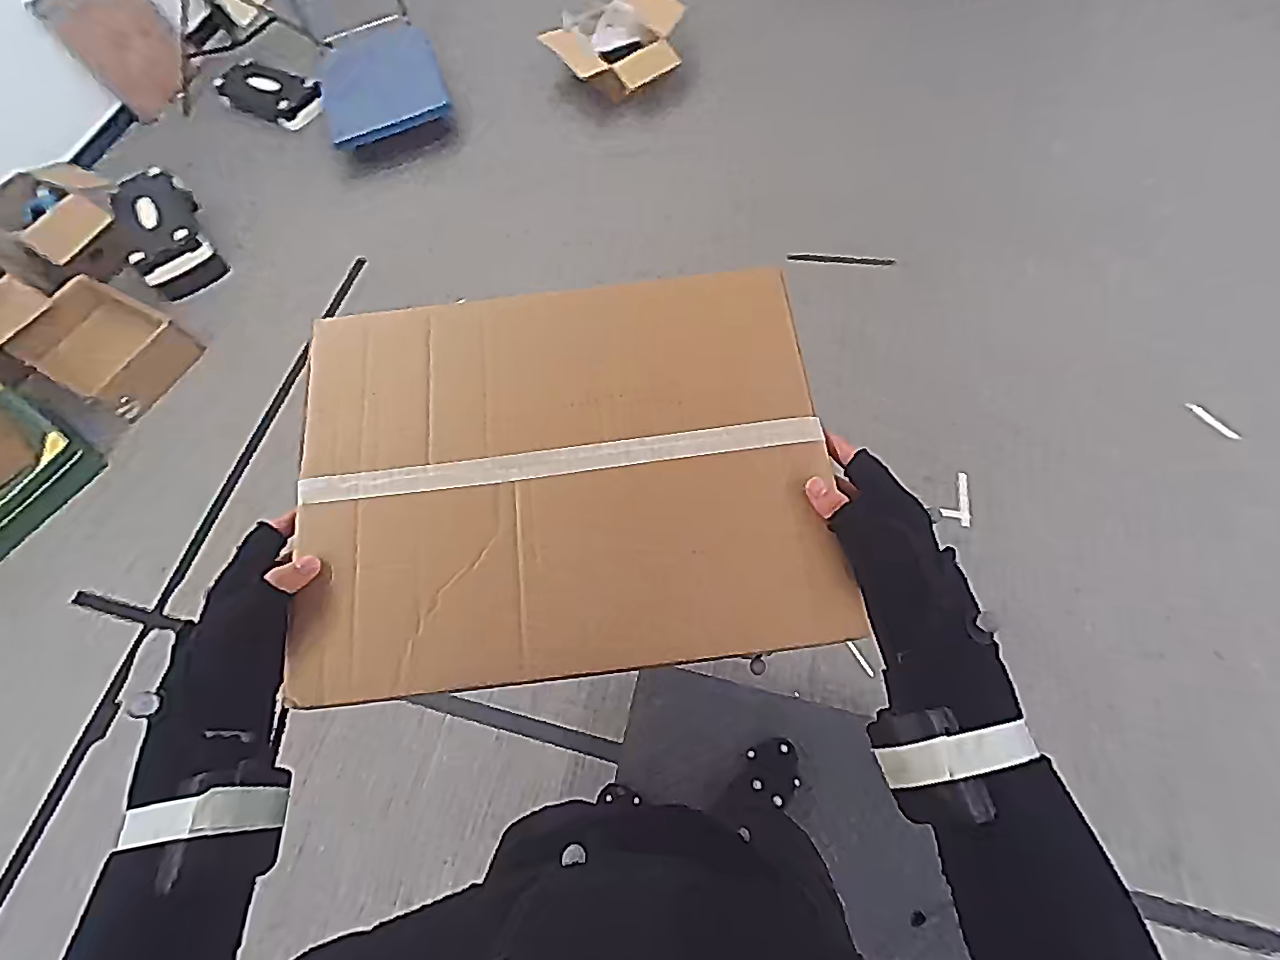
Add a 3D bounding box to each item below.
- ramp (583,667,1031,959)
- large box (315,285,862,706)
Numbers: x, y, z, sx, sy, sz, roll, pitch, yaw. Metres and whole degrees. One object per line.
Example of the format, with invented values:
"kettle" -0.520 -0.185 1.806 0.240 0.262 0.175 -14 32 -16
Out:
"ramp" 0.408 0.781 1.257 0.991 0.206 0.509 9 65 10
"large box" -0.047 0.037 0.572 0.408 0.320 0.320 -6 71 -1
